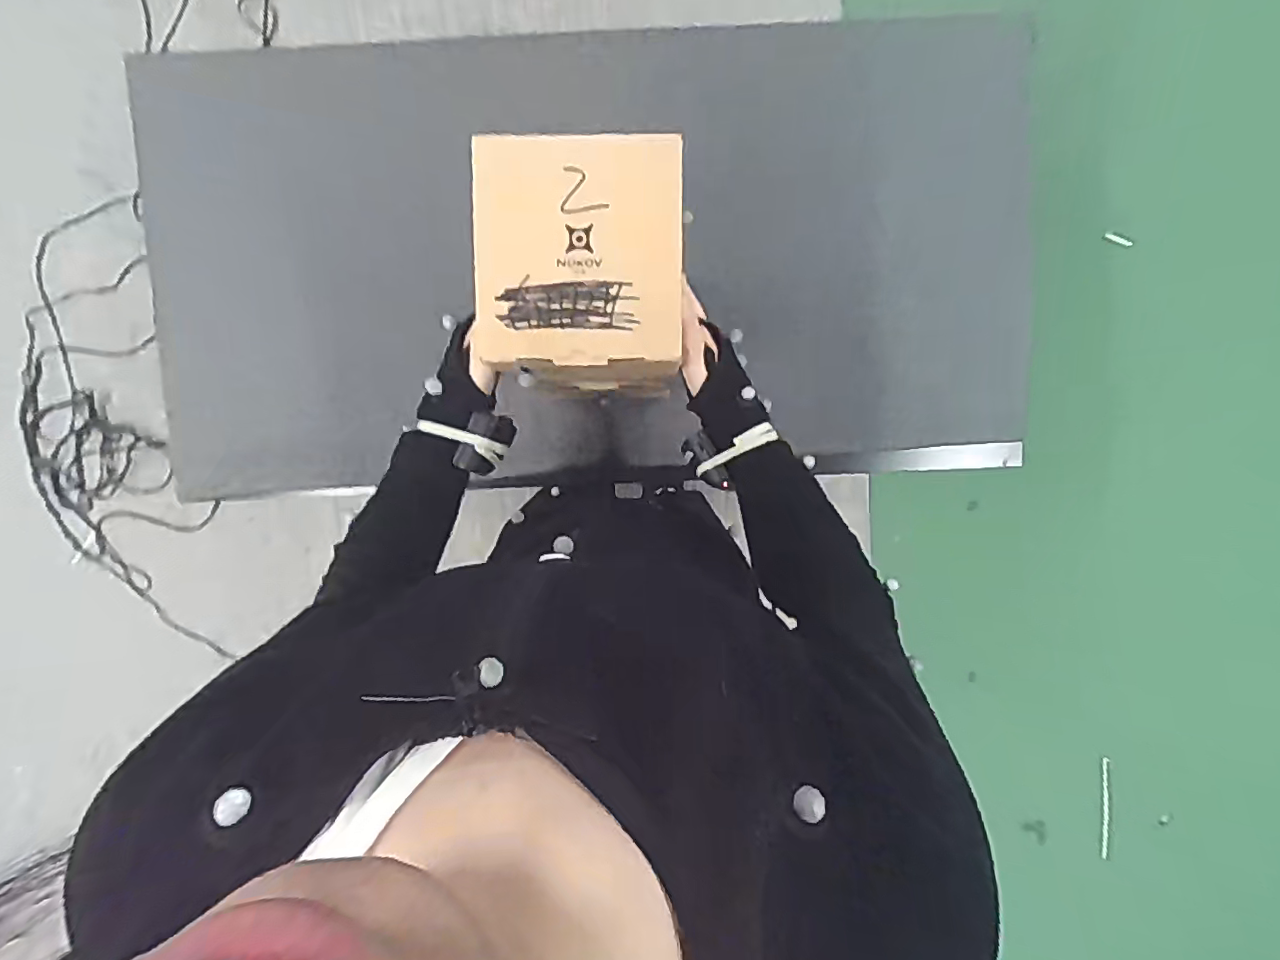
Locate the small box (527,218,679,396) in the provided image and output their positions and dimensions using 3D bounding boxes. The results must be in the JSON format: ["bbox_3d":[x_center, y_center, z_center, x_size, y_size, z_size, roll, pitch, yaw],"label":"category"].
[{"bbox_3d":[-0.040,-0.199,0.666,0.168,0.176,0.179,-1,95,1],"label":"small box"}]
